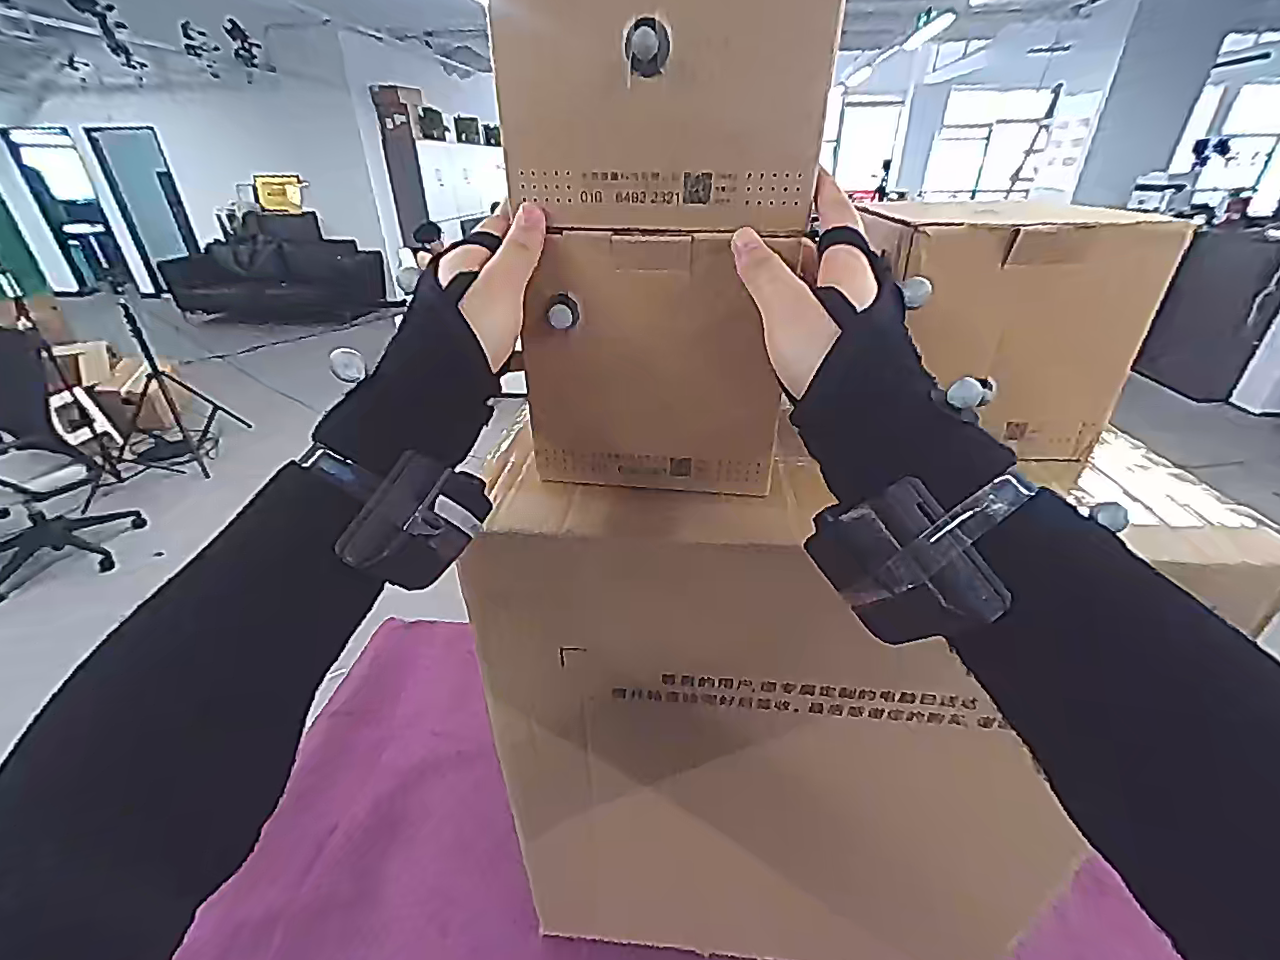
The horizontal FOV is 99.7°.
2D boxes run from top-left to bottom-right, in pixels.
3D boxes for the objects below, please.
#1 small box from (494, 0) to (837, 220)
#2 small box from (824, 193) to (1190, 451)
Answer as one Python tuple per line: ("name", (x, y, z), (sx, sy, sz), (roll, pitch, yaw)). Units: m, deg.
("small box", (0.019, -0.256, 0.324), (0.168, 0.176, 0.179), (4, 31, 5))
("small box", (0.262, -0.137, 0.446), (0.168, 0.176, 0.179), (0, 31, 4))
